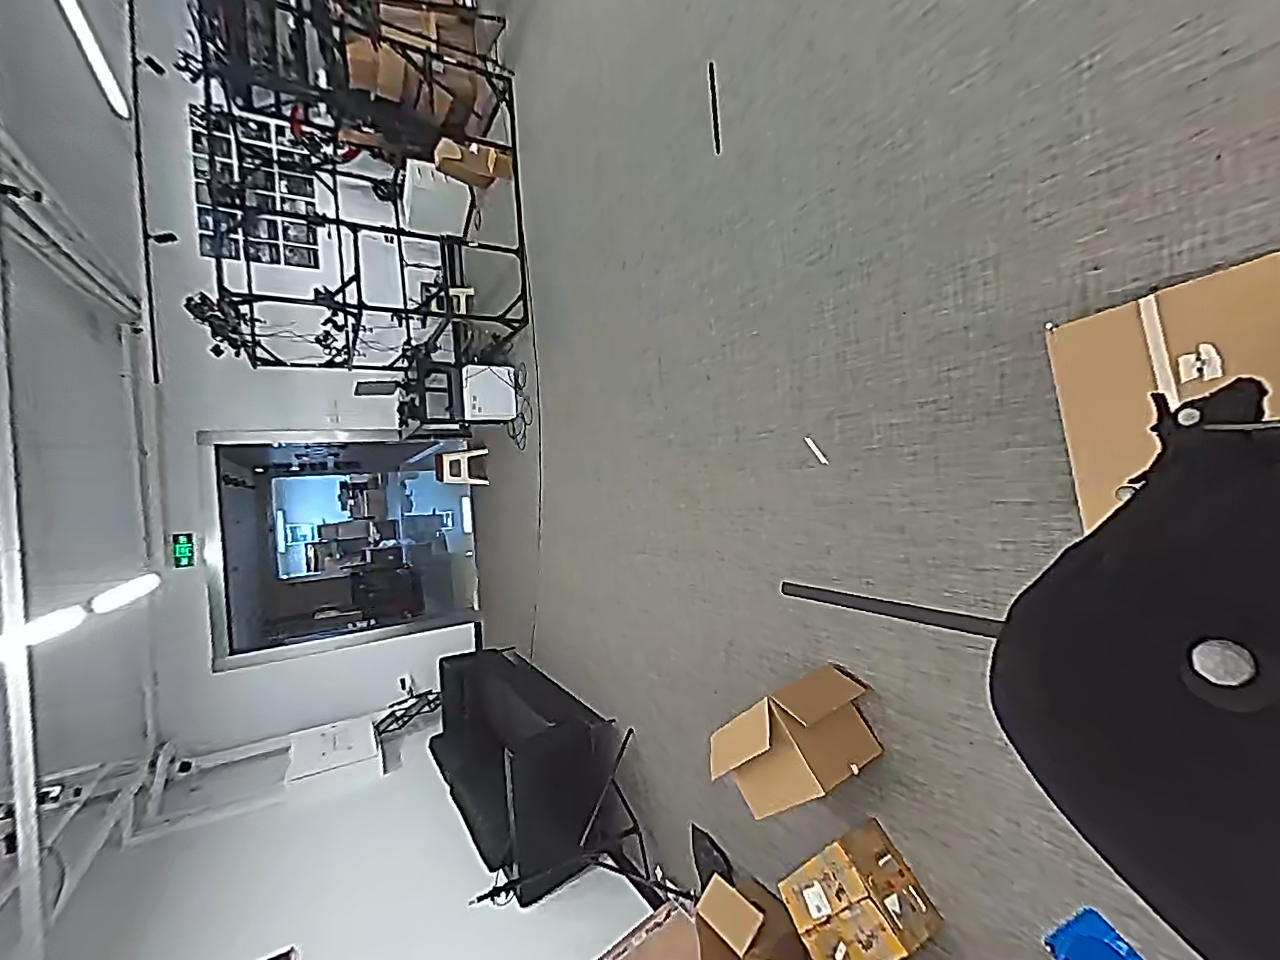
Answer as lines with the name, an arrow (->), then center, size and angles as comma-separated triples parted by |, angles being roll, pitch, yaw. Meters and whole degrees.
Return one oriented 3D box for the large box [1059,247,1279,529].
large box -> 1.032, -0.131, 0.960 | 0.320, 0.320, 0.408 | -16, 78, 60
